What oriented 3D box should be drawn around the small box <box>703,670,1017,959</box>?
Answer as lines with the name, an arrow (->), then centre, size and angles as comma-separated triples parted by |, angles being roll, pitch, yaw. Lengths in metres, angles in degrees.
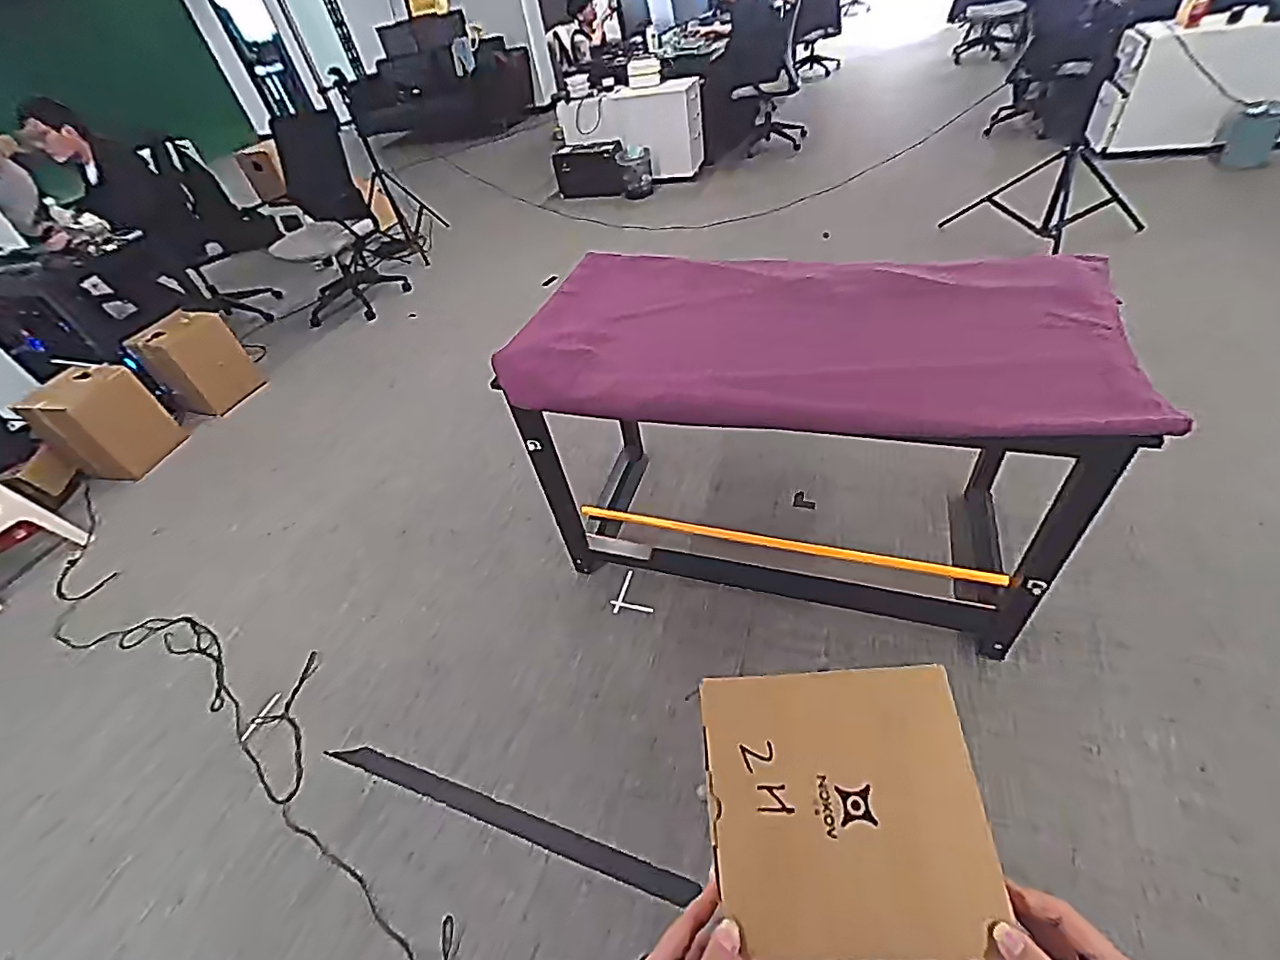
small box -> 0.146, 0.249, 0.431 | 0.179, 0.176, 0.168 | -6, 63, 7
